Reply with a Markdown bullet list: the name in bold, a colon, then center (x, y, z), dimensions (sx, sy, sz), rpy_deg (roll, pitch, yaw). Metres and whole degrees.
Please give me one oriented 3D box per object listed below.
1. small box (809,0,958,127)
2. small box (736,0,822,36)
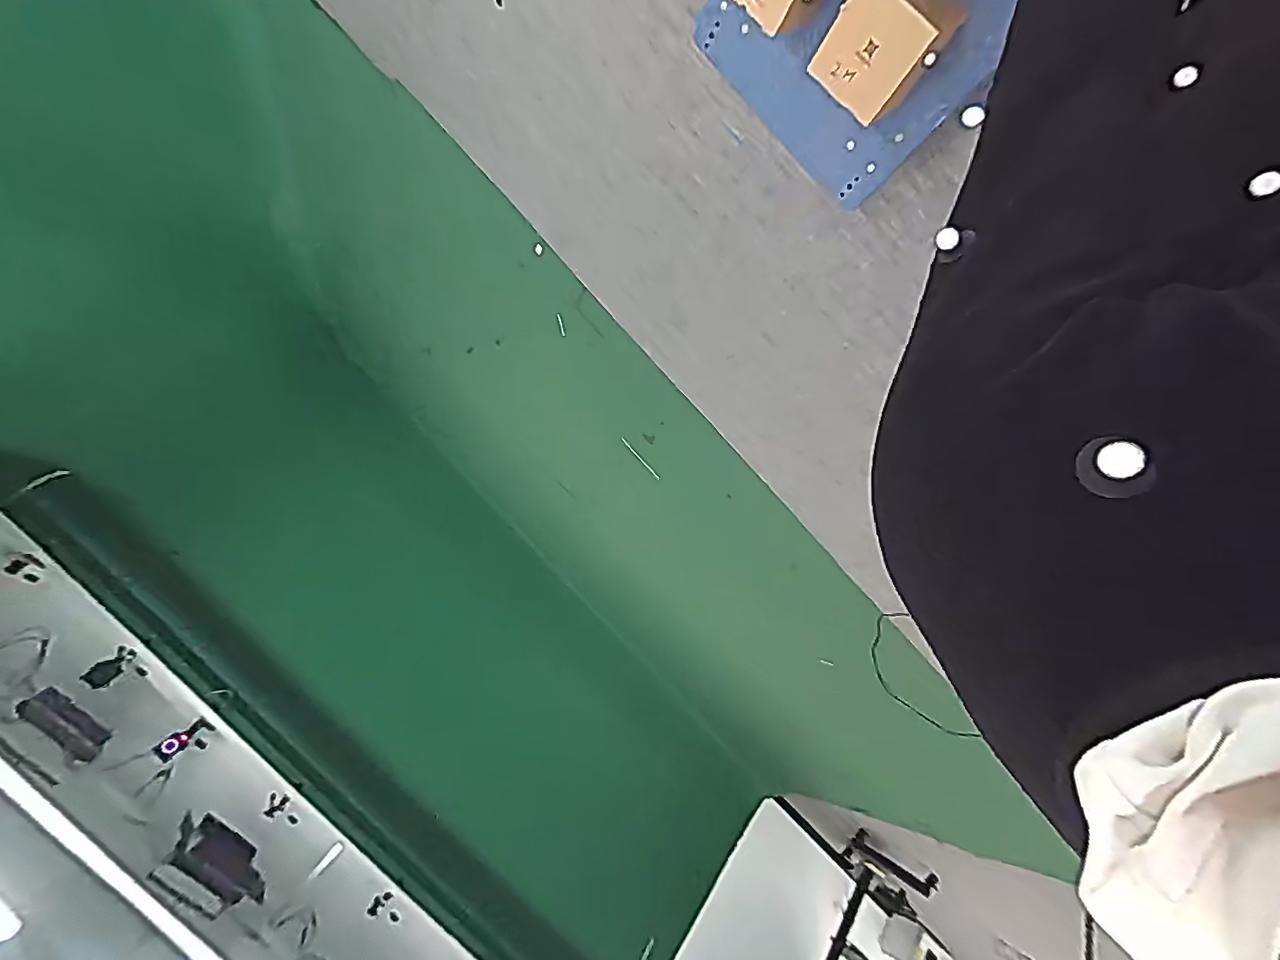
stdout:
- **small box**: center (0.462, -0.822, 1.017), dimensions (0.168, 0.176, 0.179), rpy_deg (45, 150, 0)
- **small box**: center (0.283, -0.998, 1.018), dimensions (0.168, 0.176, 0.179), rpy_deg (44, 149, -1)
